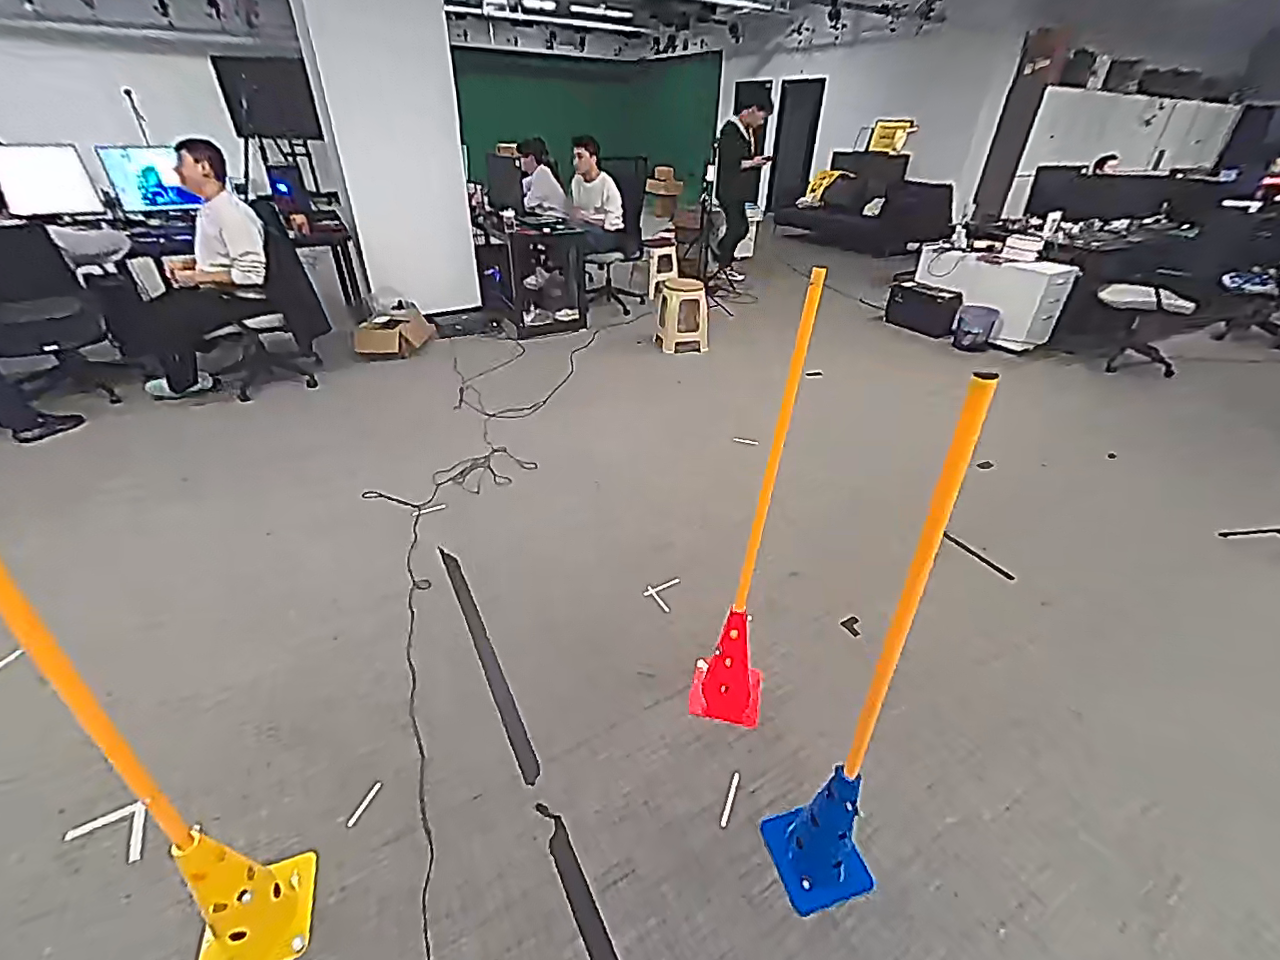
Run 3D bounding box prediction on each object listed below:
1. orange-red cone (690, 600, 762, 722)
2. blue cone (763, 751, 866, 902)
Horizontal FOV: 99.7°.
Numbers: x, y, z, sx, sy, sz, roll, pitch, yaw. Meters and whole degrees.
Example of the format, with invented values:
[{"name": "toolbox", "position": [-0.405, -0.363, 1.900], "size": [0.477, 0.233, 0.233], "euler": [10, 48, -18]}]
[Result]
[{"name": "orange-red cone", "position": [0.257, 0.472, 1.504], "size": [0.198, 0.360, 0.199], "euler": [9, 35, 13]}, {"name": "blue cone", "position": [0.405, 0.715, 1.163], "size": [0.193, 0.380, 0.192], "euler": [-7, 33, -13]}]
